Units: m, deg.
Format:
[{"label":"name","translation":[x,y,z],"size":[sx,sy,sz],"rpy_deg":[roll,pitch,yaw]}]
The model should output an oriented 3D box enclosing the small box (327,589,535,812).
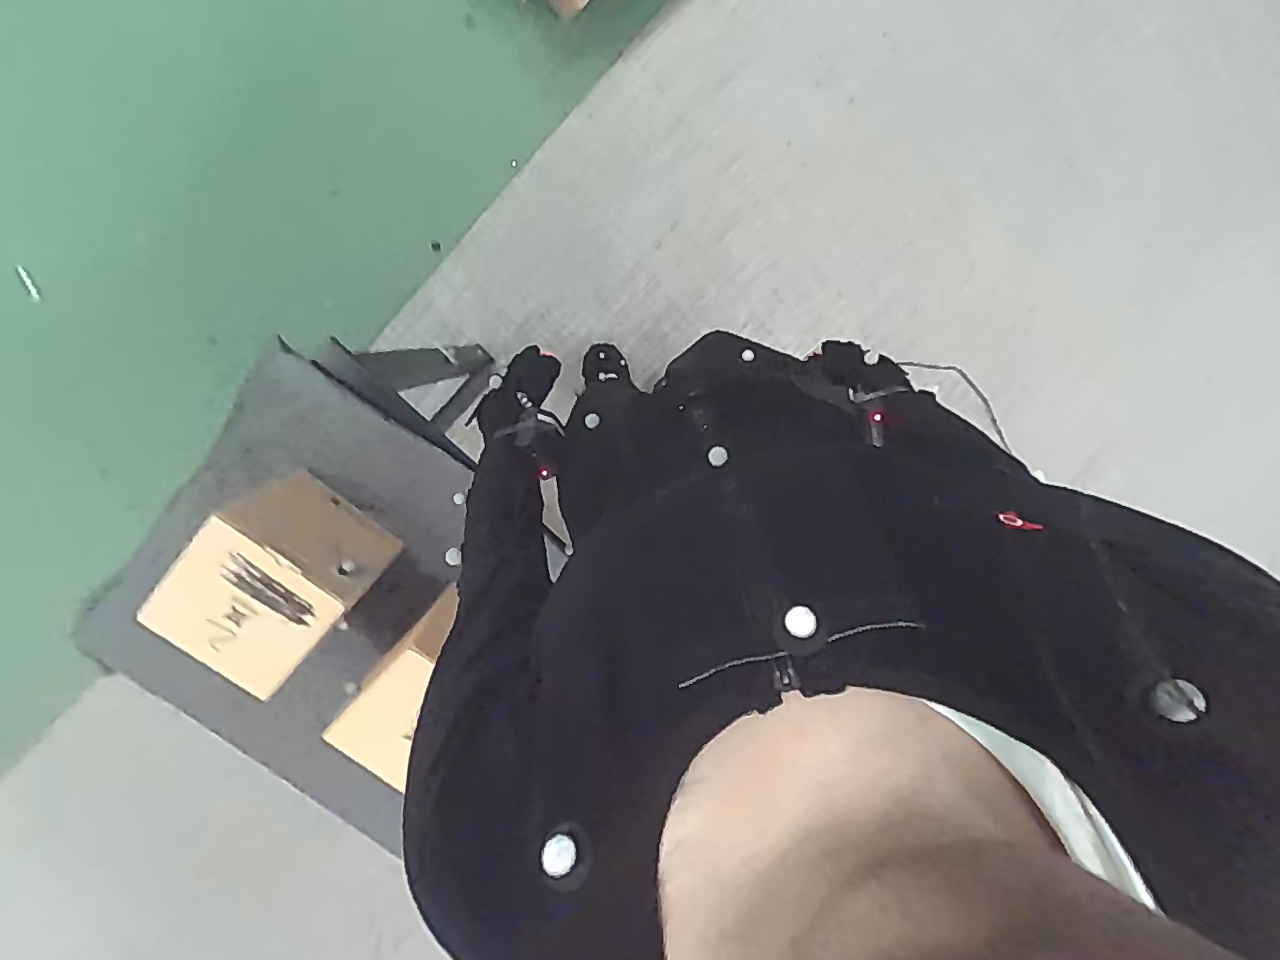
[{"label":"small box","translation":[-0.259,0.282,0.722],"size":[0.168,0.176,0.179],"rpy_deg":[43,100,-13]}]
